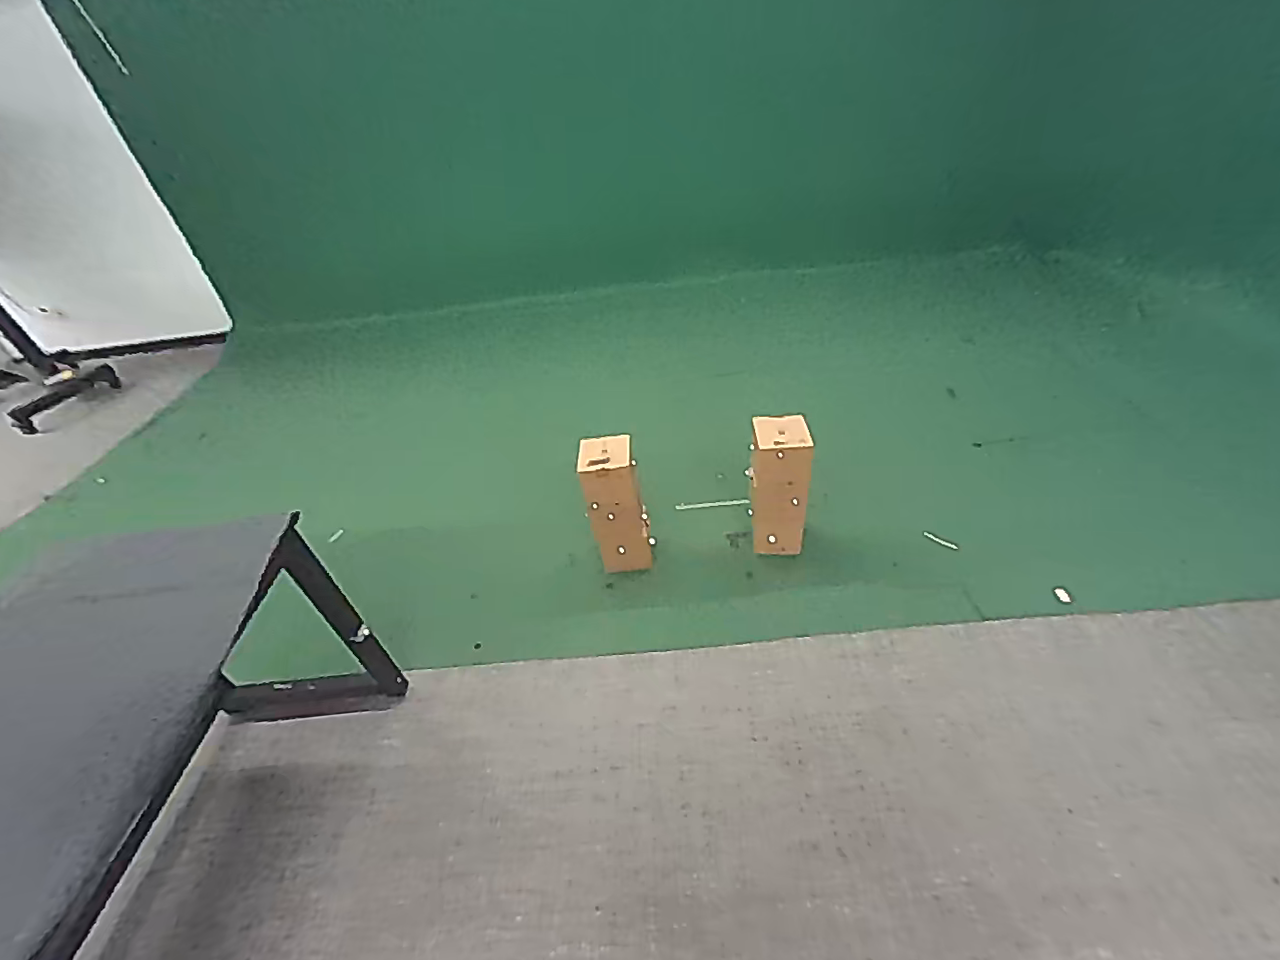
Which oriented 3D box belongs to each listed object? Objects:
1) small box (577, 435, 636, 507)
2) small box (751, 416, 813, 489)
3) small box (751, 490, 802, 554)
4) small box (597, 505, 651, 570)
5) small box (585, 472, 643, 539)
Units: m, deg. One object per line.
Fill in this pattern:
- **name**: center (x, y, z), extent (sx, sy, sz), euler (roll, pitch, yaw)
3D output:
- **small box**: center (-0.103, -0.024, 1.771), extent (0.168, 0.176, 0.179), euler (-6, 40, 4)
- **small box**: center (0.455, -0.089, 1.758), extent (0.168, 0.176, 0.179), euler (-3, 39, 4)
- **small box**: center (0.494, 0.155, 1.975), extent (0.168, 0.176, 0.179), euler (0, 40, 8)
- **small box**: center (-0.057, 0.215, 1.988), extent (0.179, 0.176, 0.168), euler (-6, 41, 2)
- **small box**: center (-0.086, 0.093, 1.885), extent (0.179, 0.176, 0.168), euler (-4, 41, 4)
